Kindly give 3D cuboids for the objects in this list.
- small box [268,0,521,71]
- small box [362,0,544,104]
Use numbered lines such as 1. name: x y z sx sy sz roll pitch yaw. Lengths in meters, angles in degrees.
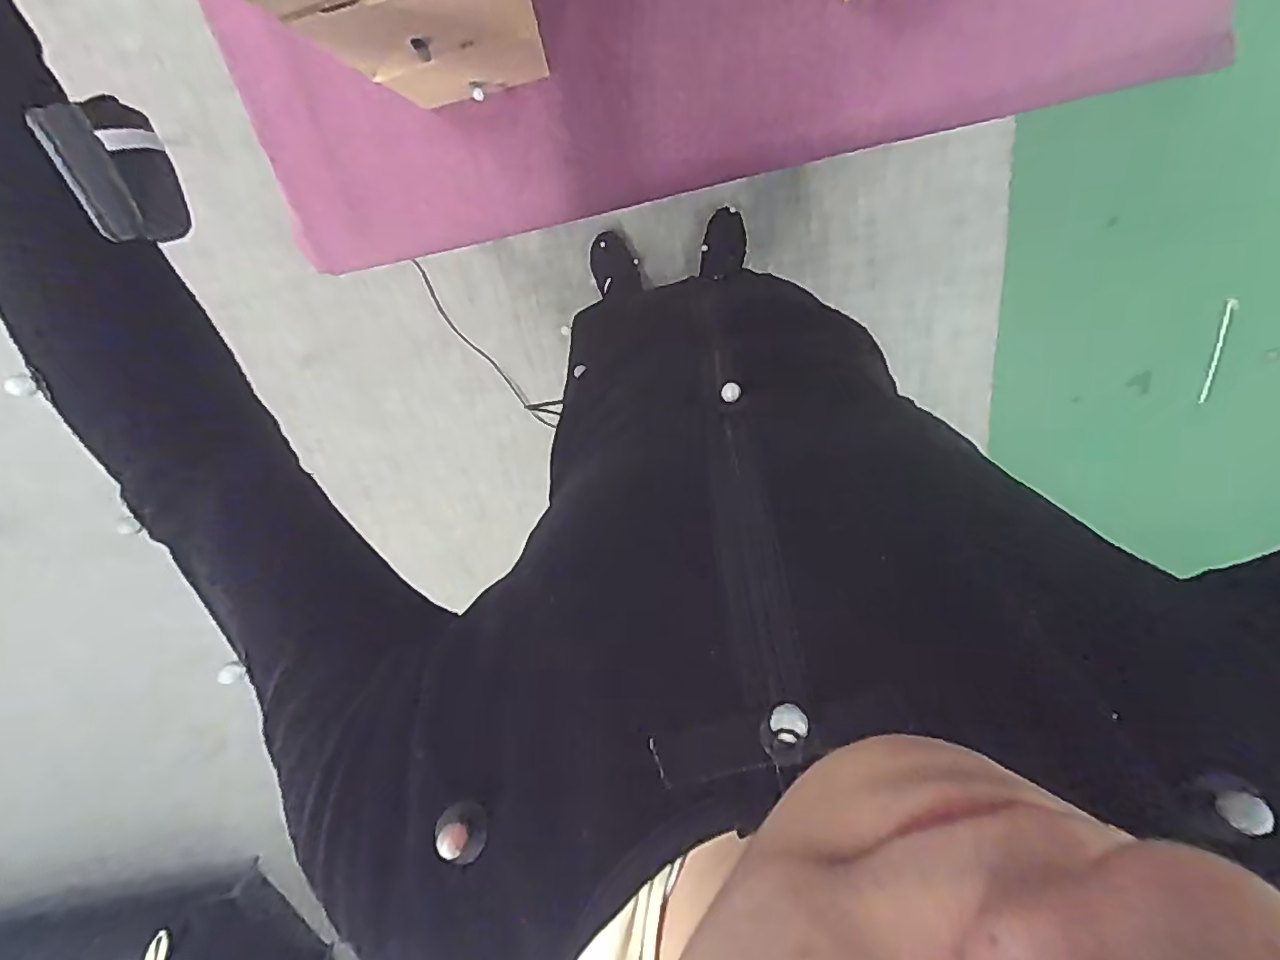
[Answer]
1. small box: -0.207 -0.461 0.421 0.168 0.176 0.179 -13 116 4
2. small box: -0.211 -0.530 0.567 0.168 0.176 0.179 -12 116 5
